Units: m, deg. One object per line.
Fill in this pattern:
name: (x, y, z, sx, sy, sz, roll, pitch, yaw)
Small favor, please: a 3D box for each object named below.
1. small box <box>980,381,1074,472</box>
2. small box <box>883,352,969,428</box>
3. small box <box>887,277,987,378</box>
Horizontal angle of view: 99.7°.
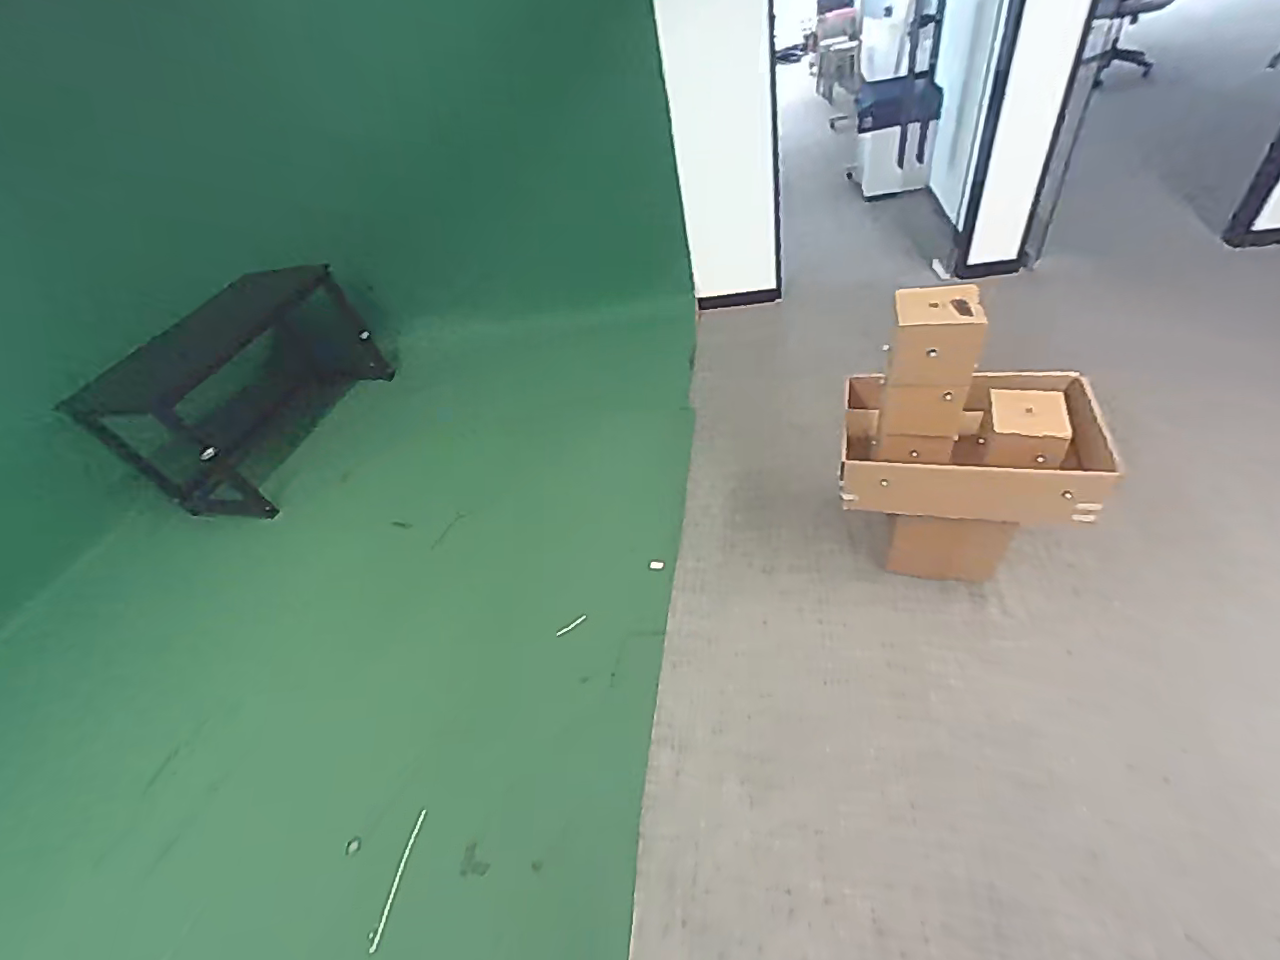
small box: (1.017, -0.141, 1.433, 0.168, 0.176, 0.179, 7, 51, 23)
small box: (0.731, -0.248, 1.398, 0.179, 0.176, 0.168, 4, 49, 20)
small box: (0.692, -0.355, 1.279, 0.179, 0.176, 0.168, 2, 48, 20)
